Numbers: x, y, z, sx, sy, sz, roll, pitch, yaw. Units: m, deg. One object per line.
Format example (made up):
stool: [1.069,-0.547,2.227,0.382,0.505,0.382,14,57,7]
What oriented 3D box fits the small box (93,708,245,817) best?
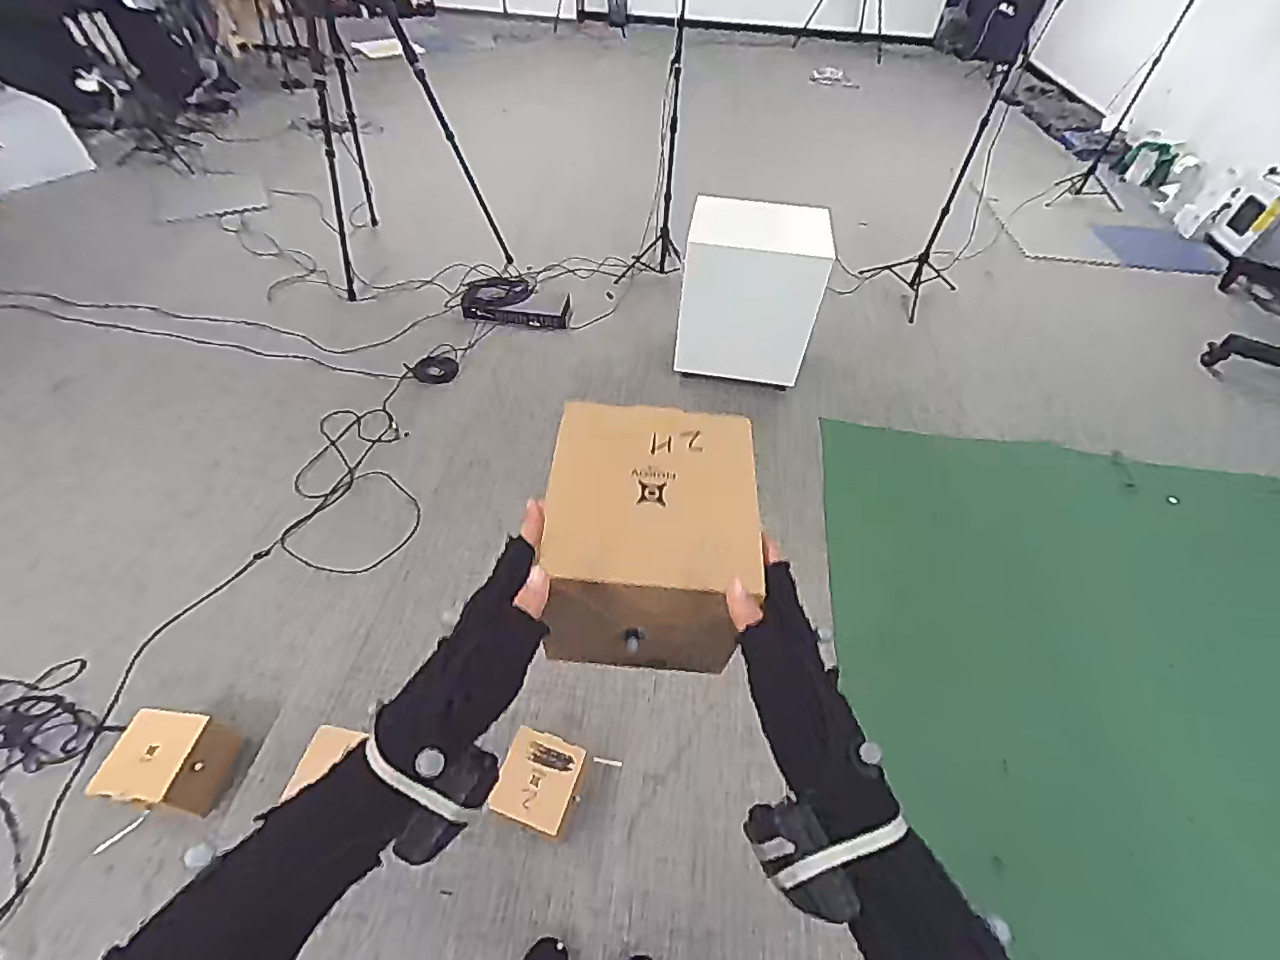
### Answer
small box: [-1.054,0.646,1.235,0.168,0.176,0.179,5,50,2]

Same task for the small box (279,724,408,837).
small box: [-0.653,0.682,1.221,0.168,0.176,0.179,9,49,6]
